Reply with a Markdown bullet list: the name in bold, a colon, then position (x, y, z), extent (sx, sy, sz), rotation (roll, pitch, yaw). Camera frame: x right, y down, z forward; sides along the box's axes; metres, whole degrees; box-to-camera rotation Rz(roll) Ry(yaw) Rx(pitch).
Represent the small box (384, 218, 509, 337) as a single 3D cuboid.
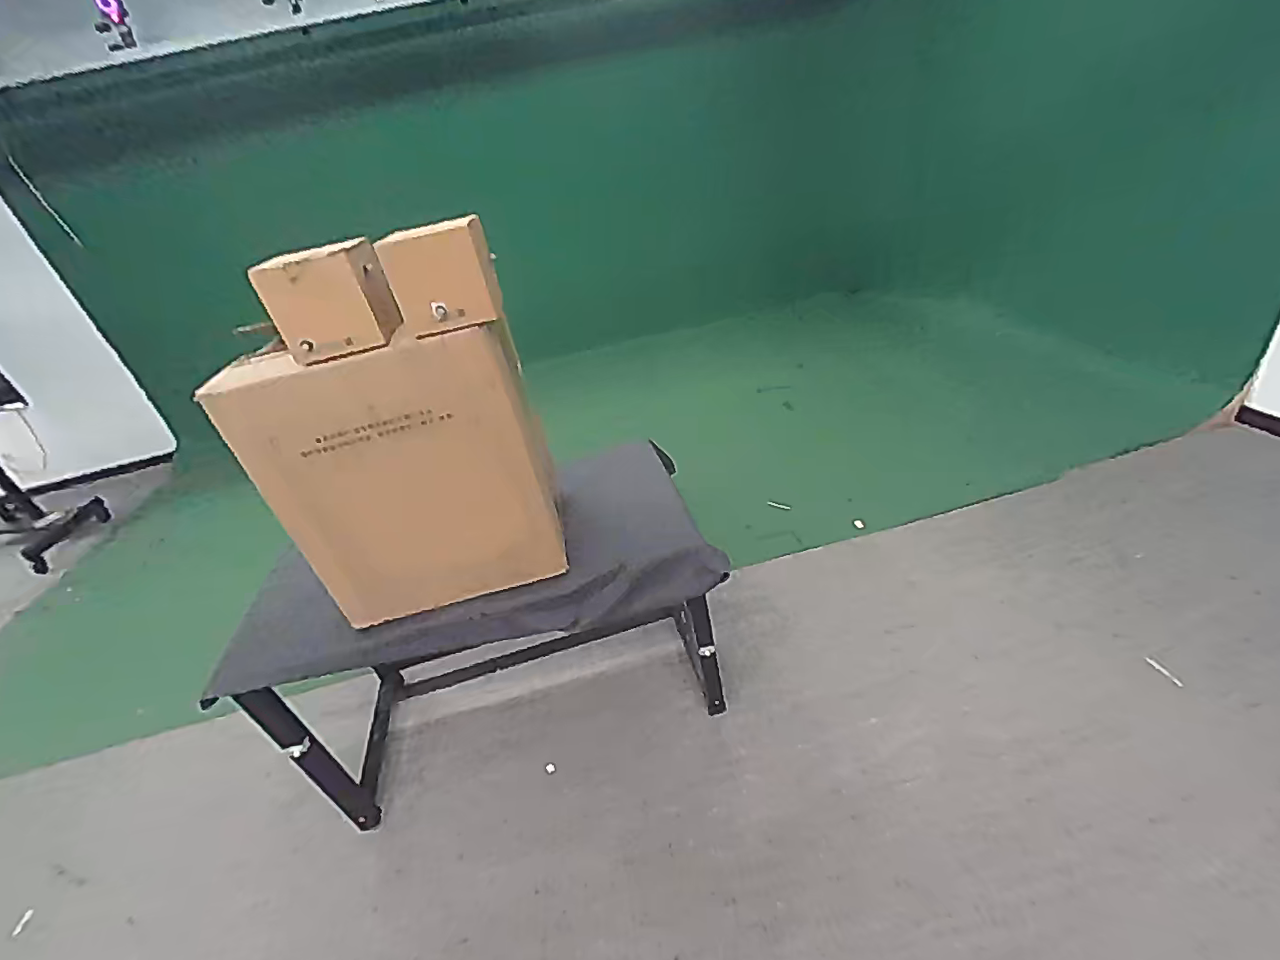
- **small box**: position (-0.359, -0.391, 1.040), extent (0.168, 0.176, 0.179), rotation (-14, 33, -2)
